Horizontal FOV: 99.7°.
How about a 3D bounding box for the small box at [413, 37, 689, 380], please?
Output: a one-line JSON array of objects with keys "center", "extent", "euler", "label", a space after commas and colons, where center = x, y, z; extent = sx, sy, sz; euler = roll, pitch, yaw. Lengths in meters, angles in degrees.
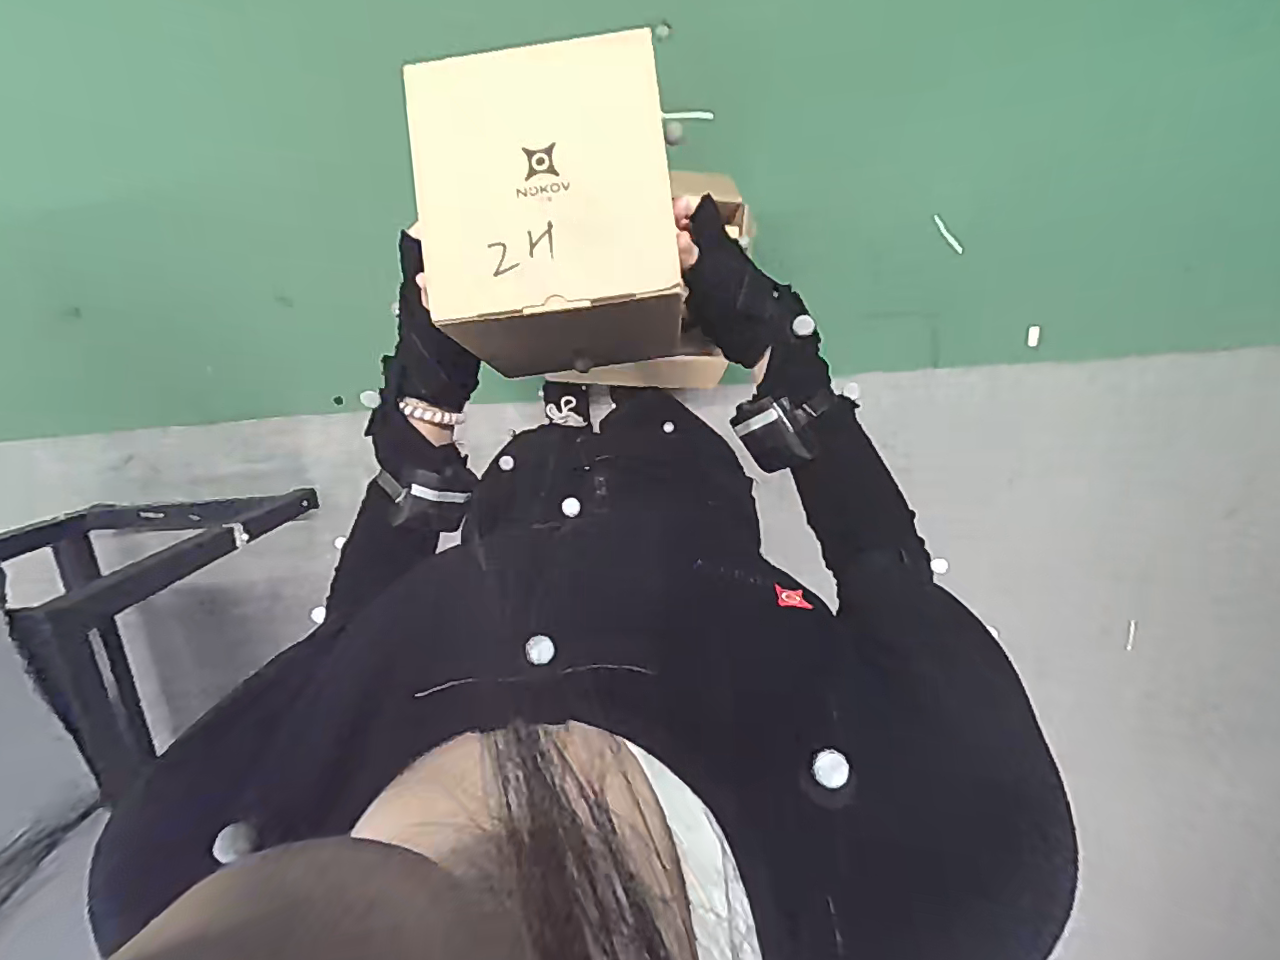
[{"center": [-0.057, -0.190, 0.428], "extent": [0.168, 0.176, 0.179], "euler": [-7, 89, 2], "label": "small box"}]
